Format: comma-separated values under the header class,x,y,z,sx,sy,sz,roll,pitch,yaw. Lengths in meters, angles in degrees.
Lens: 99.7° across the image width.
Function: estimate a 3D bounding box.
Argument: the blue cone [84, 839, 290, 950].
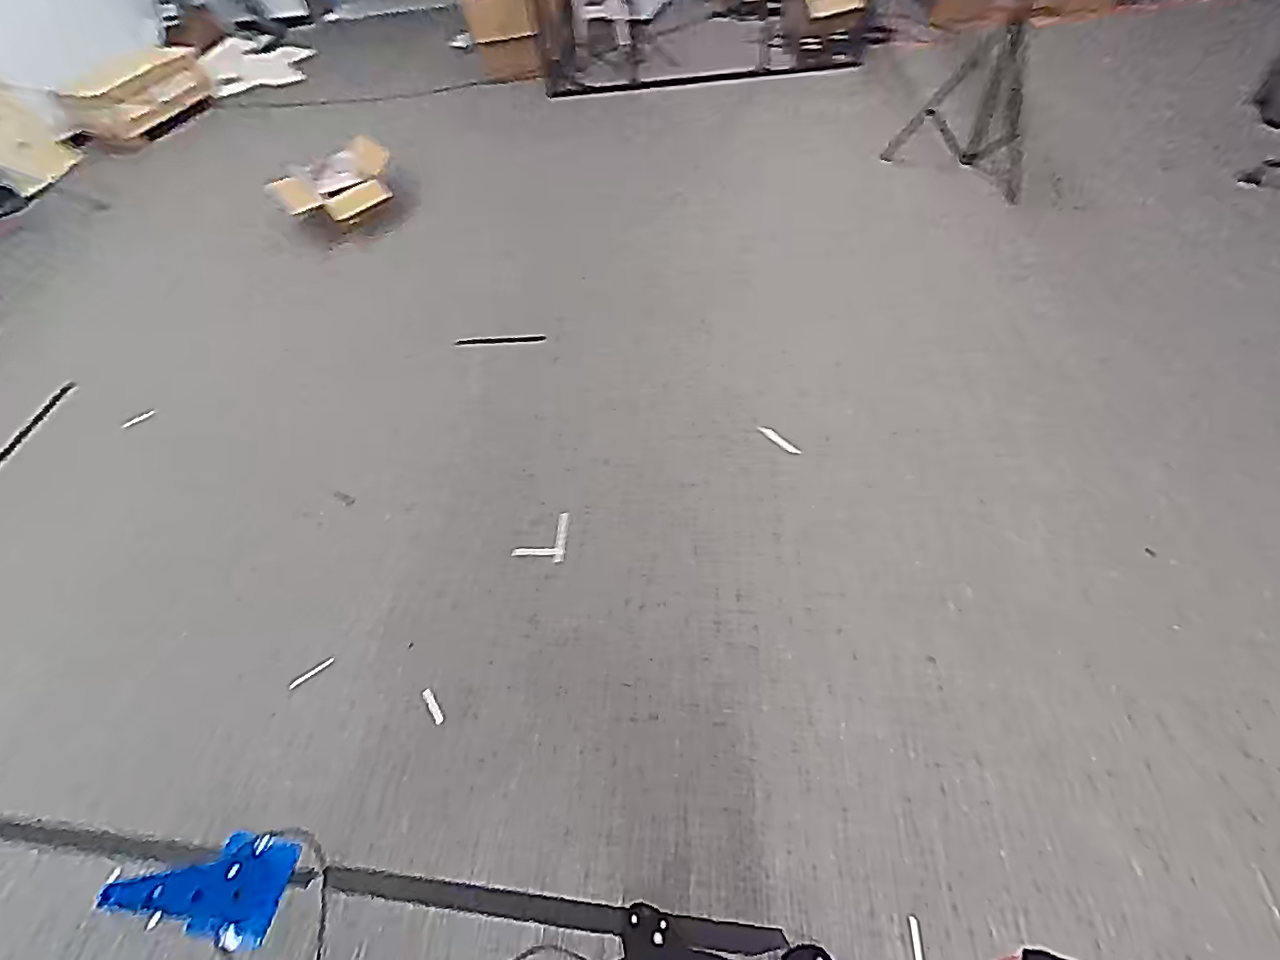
class,x,y,z,sx,sy,sz,roll,pitch,yaw
blue cone,-0.928,0.848,1.098,0.192,0.380,0.193,4,56,10
